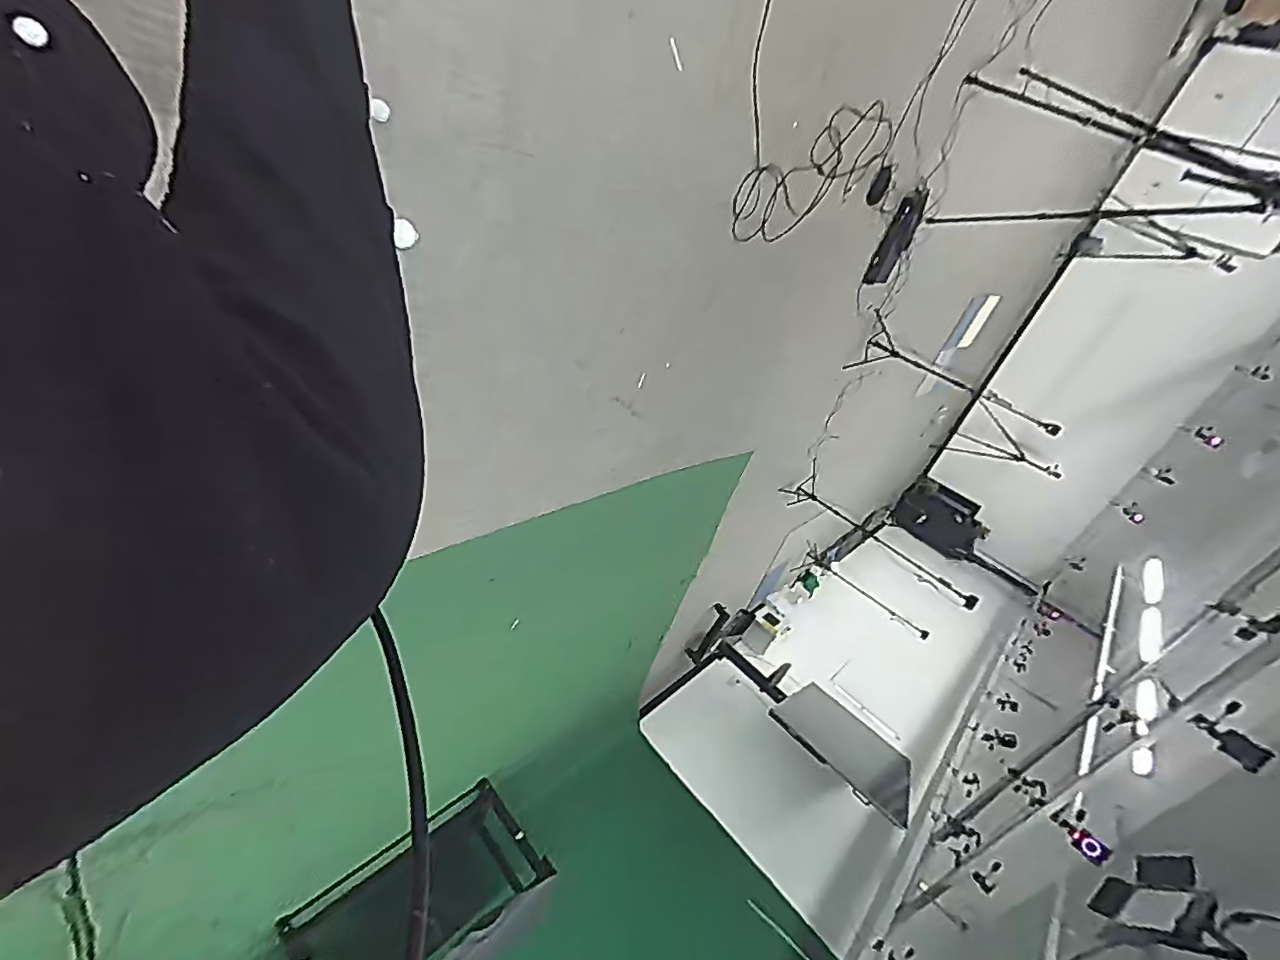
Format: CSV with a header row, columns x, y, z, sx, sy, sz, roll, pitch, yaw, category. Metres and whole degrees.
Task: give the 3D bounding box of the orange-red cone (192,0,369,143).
x,y,z,sx,sy,sz,roll,pitch,yaw,category
-0.532,-0.646,0.873,0.199,0.360,0.198,7,118,-58,orange-red cone
